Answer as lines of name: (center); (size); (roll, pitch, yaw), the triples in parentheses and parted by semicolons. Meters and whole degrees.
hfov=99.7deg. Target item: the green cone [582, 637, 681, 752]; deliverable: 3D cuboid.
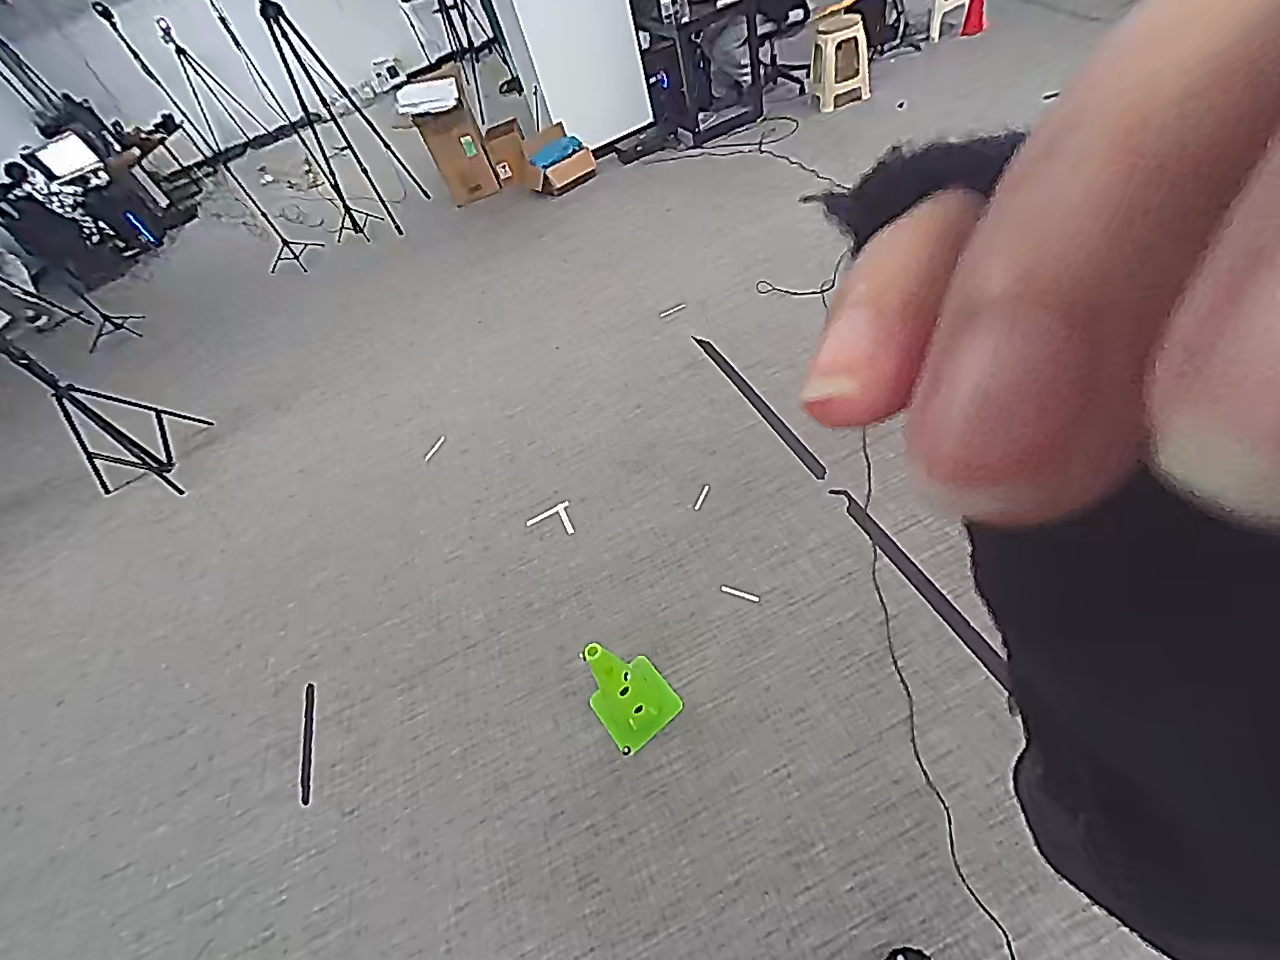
green cone: (-0.059, 0.490, 1.347); (0.200, 0.368, 0.202); (-37, 47, -15)
